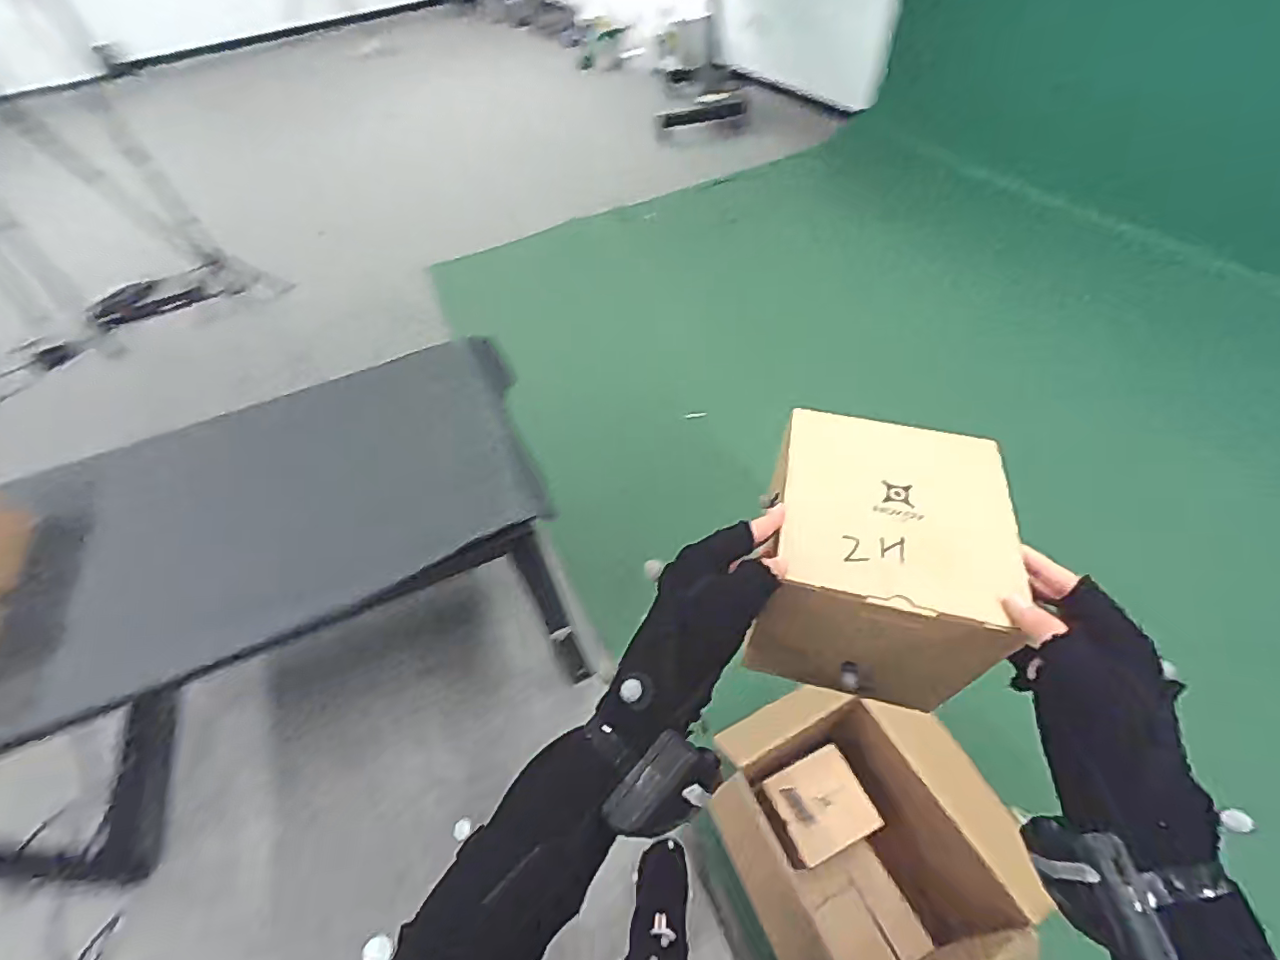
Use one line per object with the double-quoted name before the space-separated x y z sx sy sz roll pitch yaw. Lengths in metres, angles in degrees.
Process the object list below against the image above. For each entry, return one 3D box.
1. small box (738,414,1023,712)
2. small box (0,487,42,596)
"small box" 0.183 0.072 0.468 0.168 0.176 0.179 10 51 9
"small box" -1.169 0.101 0.893 0.168 0.176 0.179 -21 52 -11
